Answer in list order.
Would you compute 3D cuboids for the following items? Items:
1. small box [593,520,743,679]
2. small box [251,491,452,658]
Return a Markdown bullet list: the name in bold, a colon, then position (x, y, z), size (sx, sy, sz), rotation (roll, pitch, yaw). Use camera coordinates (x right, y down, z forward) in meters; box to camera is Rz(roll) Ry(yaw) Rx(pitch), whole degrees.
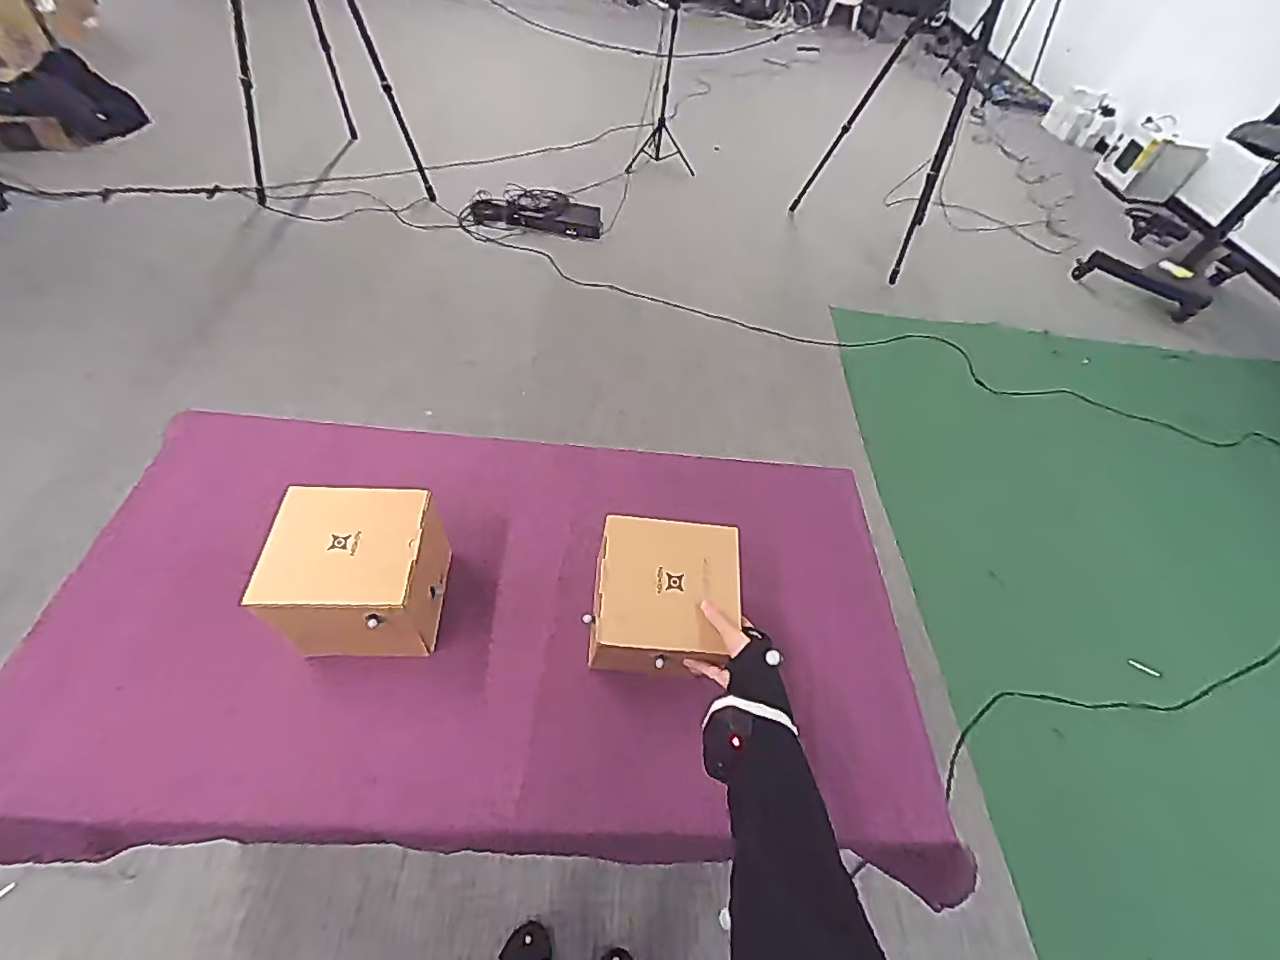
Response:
- **small box**: position (0.031, 0.169, 0.735), size (0.179, 0.176, 0.168), rotation (7, 62, -5)
- **small box**: position (-0.365, 0.131, 0.725), size (0.179, 0.176, 0.168), rotation (2, 52, -8)
